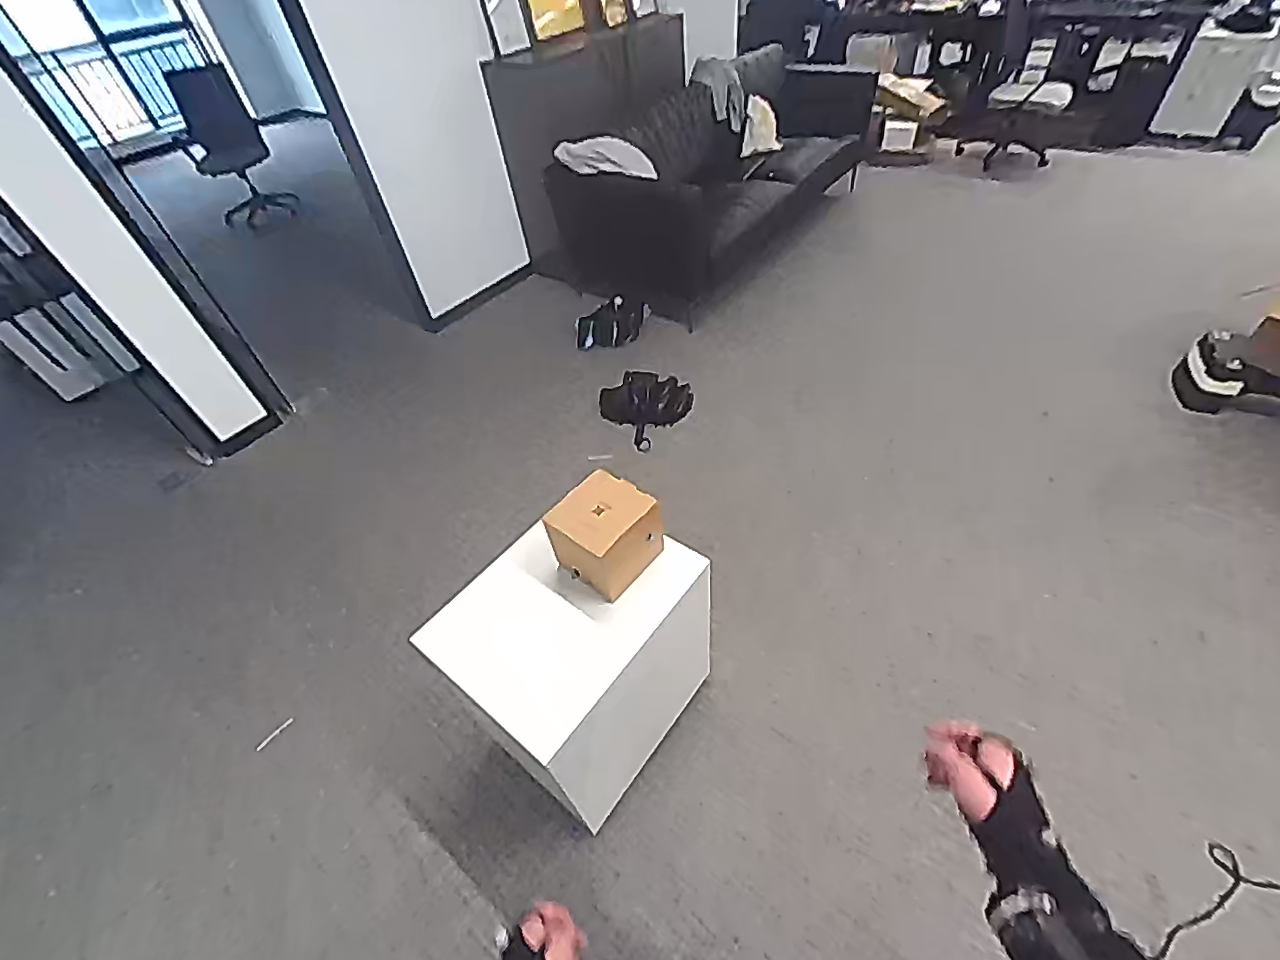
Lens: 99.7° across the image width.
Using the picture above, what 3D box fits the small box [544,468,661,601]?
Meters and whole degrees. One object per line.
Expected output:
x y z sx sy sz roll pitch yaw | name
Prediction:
-0.069 0.113 1.126 0.168 0.176 0.179 28 57 30 | small box
